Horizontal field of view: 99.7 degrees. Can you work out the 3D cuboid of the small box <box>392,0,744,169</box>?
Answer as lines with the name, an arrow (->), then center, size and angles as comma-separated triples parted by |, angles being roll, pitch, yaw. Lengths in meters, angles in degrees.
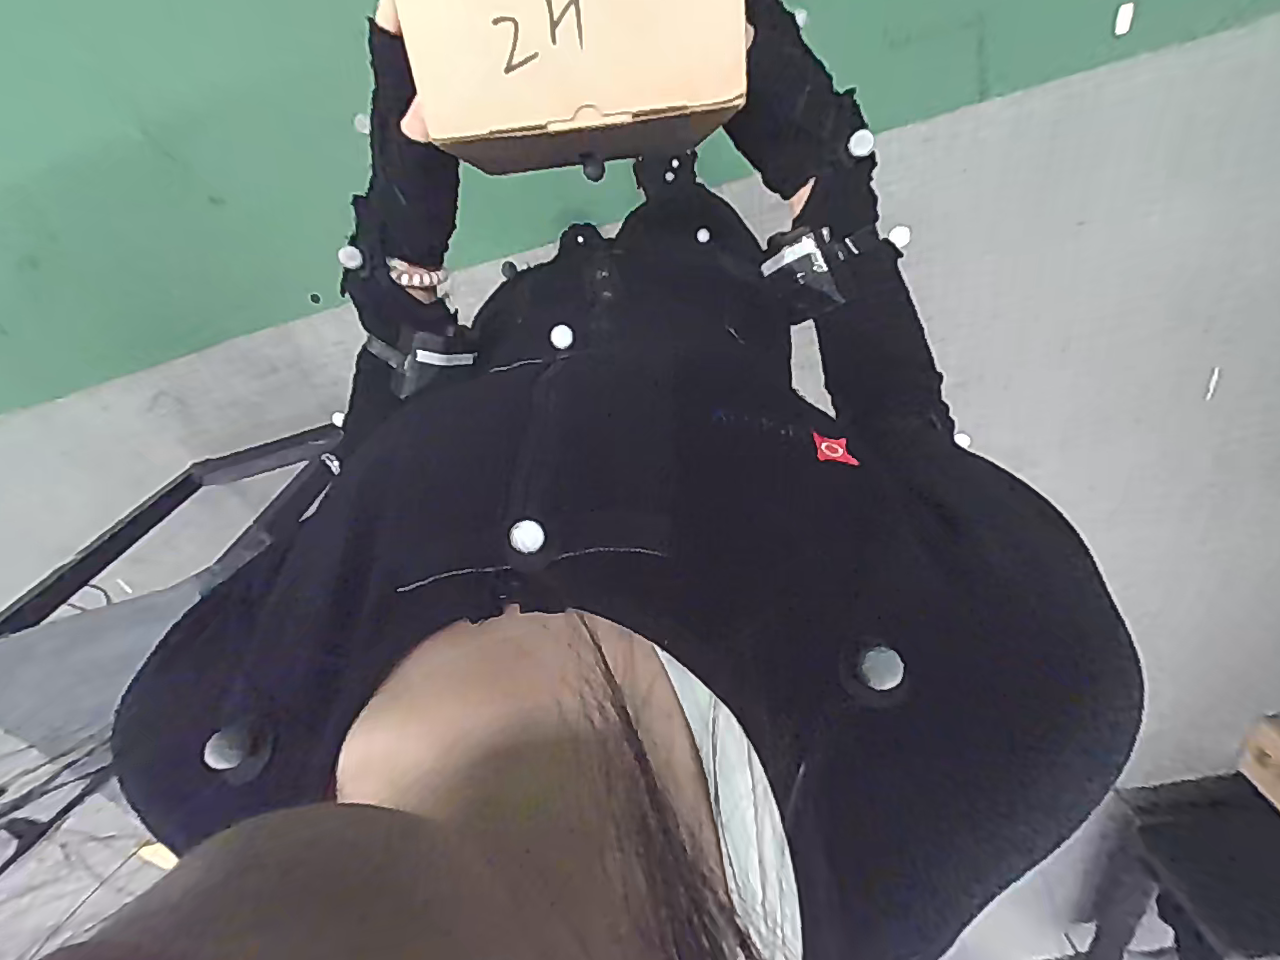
small box -> -0.043, -0.296, 0.309 | 0.168, 0.176, 0.179 | -8, 115, 0

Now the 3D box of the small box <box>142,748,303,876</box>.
small box -> -0.840, 0.680, 1.118 | 0.179, 0.176, 0.168 | -15, 122, 9
